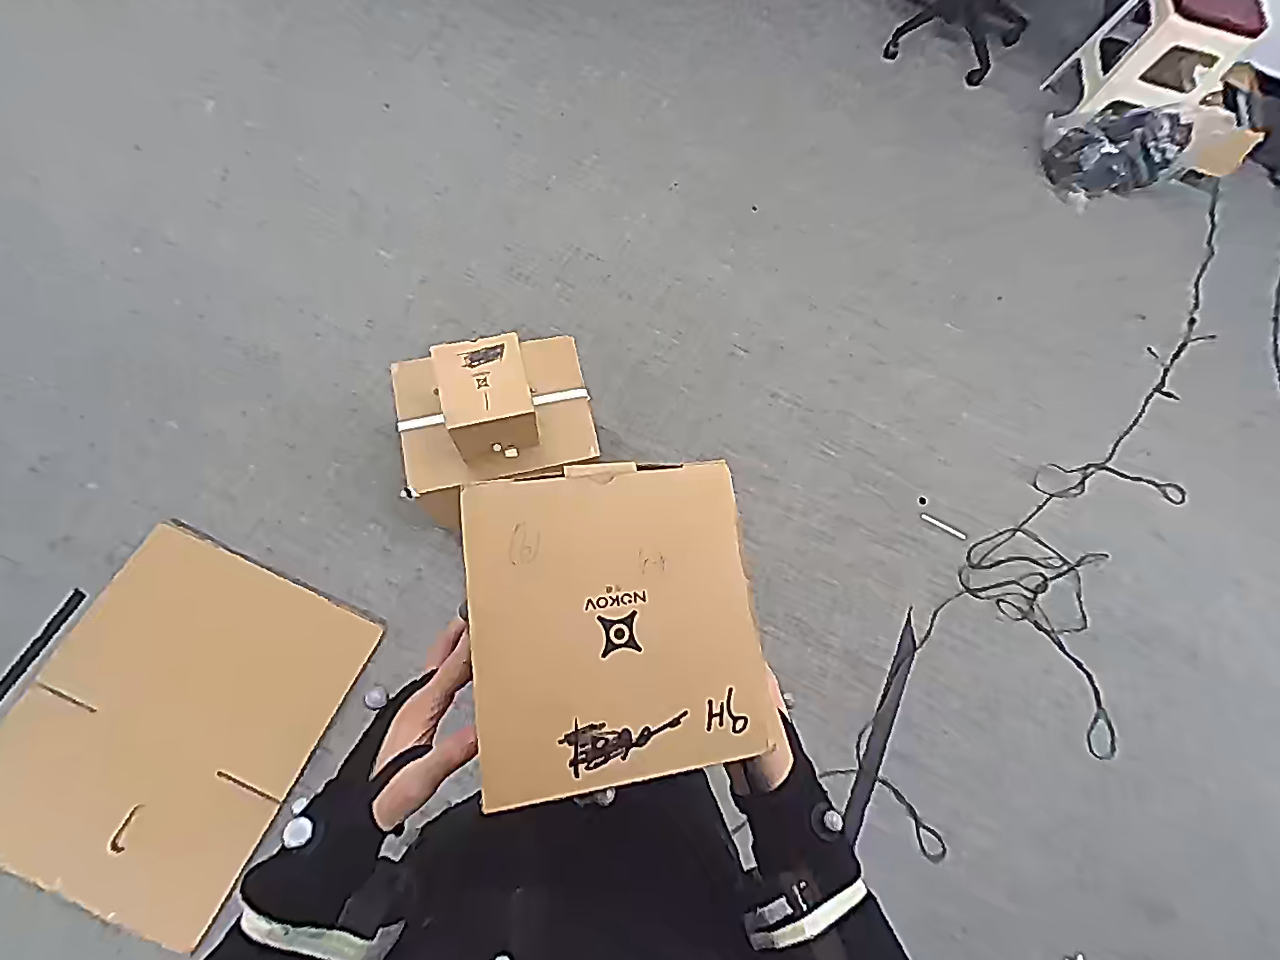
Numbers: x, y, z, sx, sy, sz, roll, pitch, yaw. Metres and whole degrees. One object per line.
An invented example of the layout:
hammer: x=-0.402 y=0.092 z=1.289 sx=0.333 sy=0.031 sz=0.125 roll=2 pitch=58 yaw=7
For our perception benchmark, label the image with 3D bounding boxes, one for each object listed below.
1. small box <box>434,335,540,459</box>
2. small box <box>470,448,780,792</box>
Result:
small box: x=-0.302 y=-0.162 z=1.090 sx=0.168 sy=0.176 sz=0.179 roll=-14 pitch=75 yaw=-11
small box: x=-0.025 y=0.089 z=0.387 sx=0.168 sy=0.176 sz=0.179 roll=-6 pitch=78 yaw=-12
